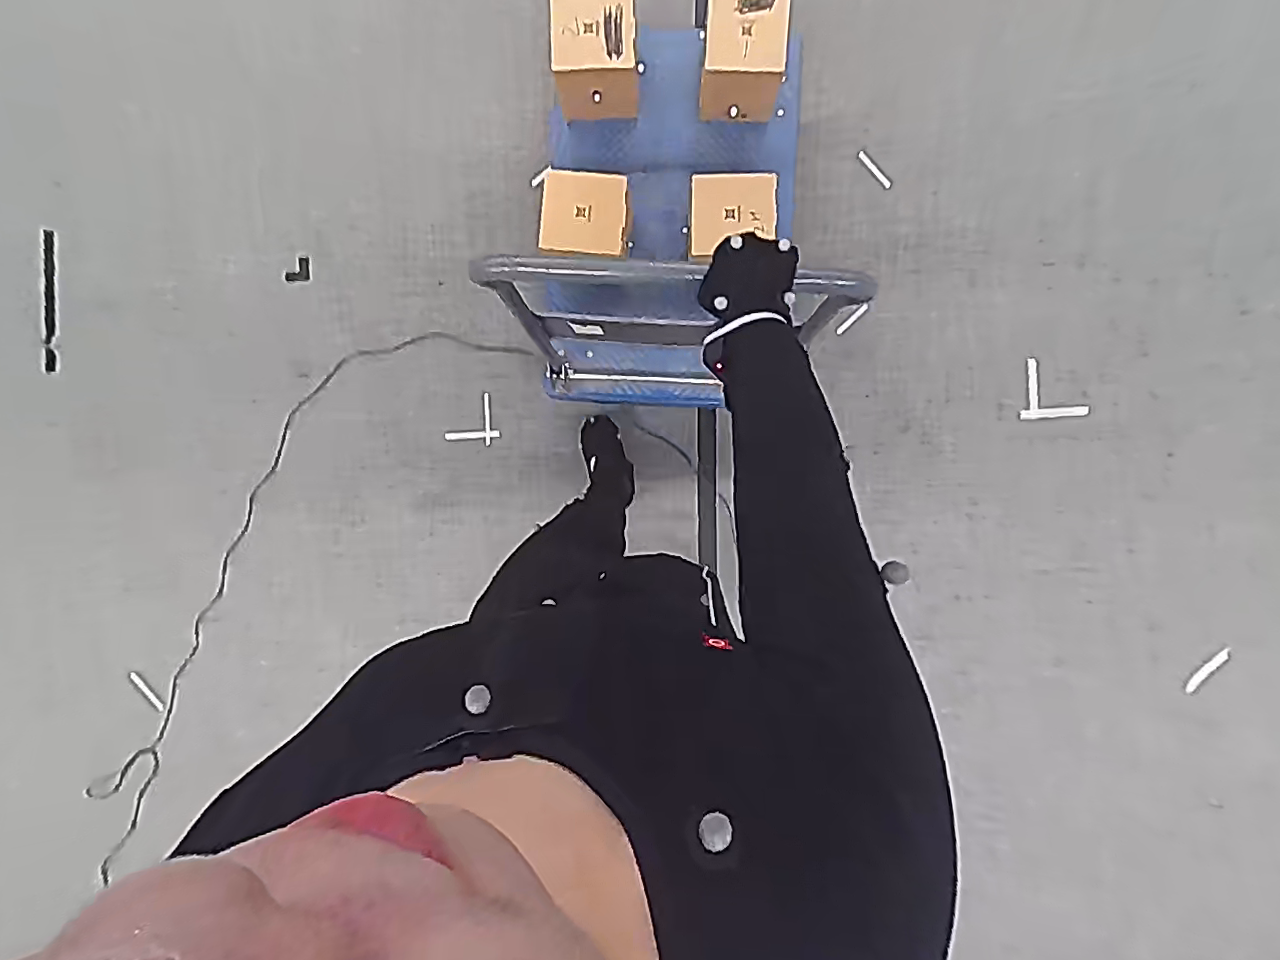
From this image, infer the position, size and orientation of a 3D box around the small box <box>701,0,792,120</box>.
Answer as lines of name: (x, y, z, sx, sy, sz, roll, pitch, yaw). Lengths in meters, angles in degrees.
small box: (0.223, -0.926, 1.172, 0.168, 0.176, 0.179, 3, 93, 2)

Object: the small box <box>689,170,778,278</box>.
small box: (0.198, -0.551, 1.184, 0.179, 0.176, 0.168, 0, 92, 2)

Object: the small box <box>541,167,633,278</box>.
small box: (-0.111, -0.560, 1.196, 0.179, 0.176, 0.168, 5, 91, 1)
